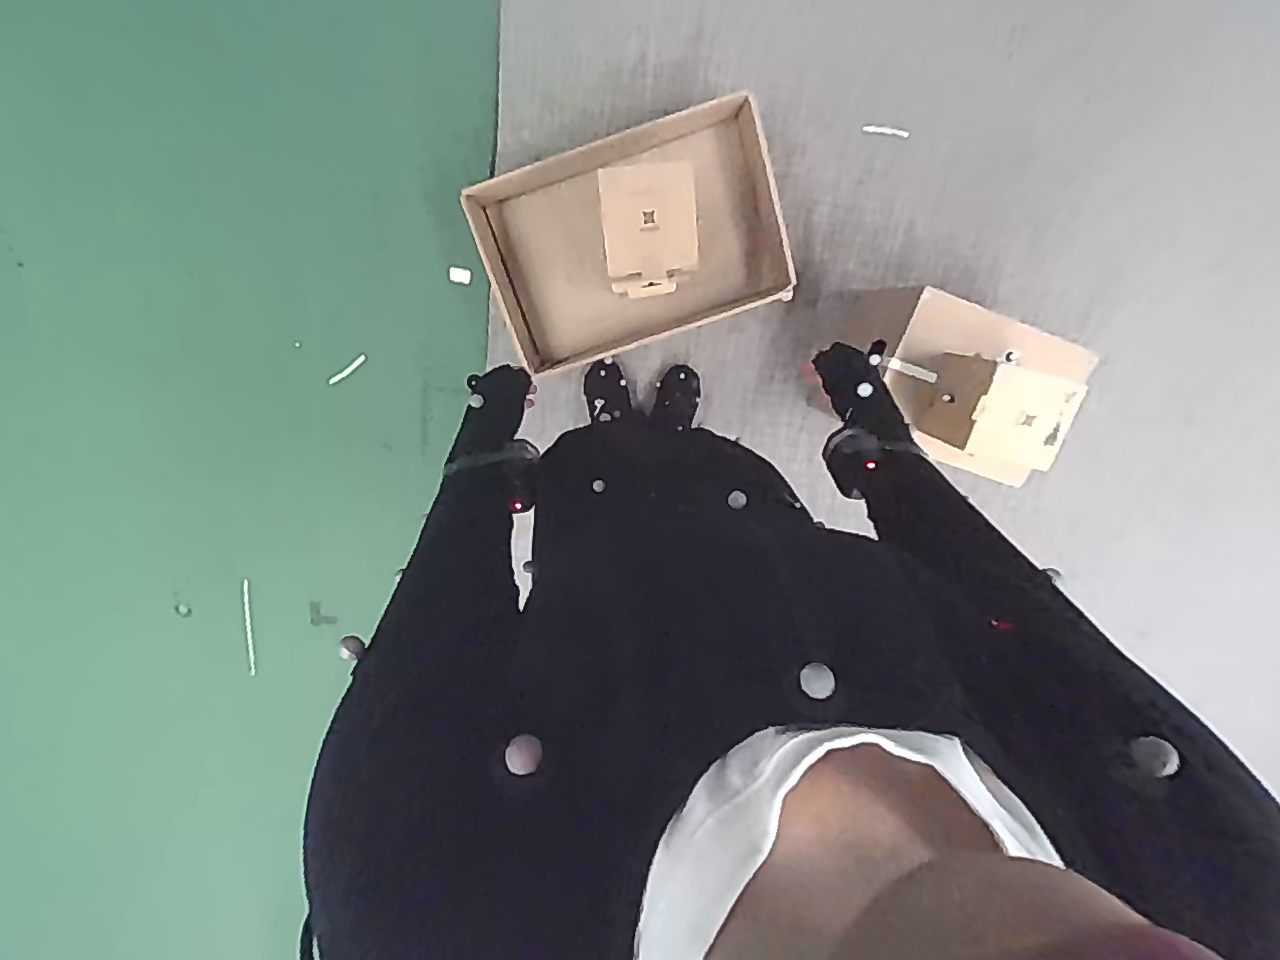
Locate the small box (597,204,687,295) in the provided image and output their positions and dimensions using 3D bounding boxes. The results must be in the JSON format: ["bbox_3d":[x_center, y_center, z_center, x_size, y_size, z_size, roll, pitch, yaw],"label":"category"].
[{"bbox_3d":[0.007,-0.506,1.179,0.168,0.176,0.179,-10,106,2],"label":"small box"}]

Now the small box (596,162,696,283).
[{"bbox_3d":[0.012,-0.473,1.020,0.168,0.176,0.179,-6,105,0],"label":"small box"}]

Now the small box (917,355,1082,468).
[{"bbox_3d":[0.674,-0.139,1.041,0.179,0.176,0.168,12,108,-5],"label":"small box"}]
